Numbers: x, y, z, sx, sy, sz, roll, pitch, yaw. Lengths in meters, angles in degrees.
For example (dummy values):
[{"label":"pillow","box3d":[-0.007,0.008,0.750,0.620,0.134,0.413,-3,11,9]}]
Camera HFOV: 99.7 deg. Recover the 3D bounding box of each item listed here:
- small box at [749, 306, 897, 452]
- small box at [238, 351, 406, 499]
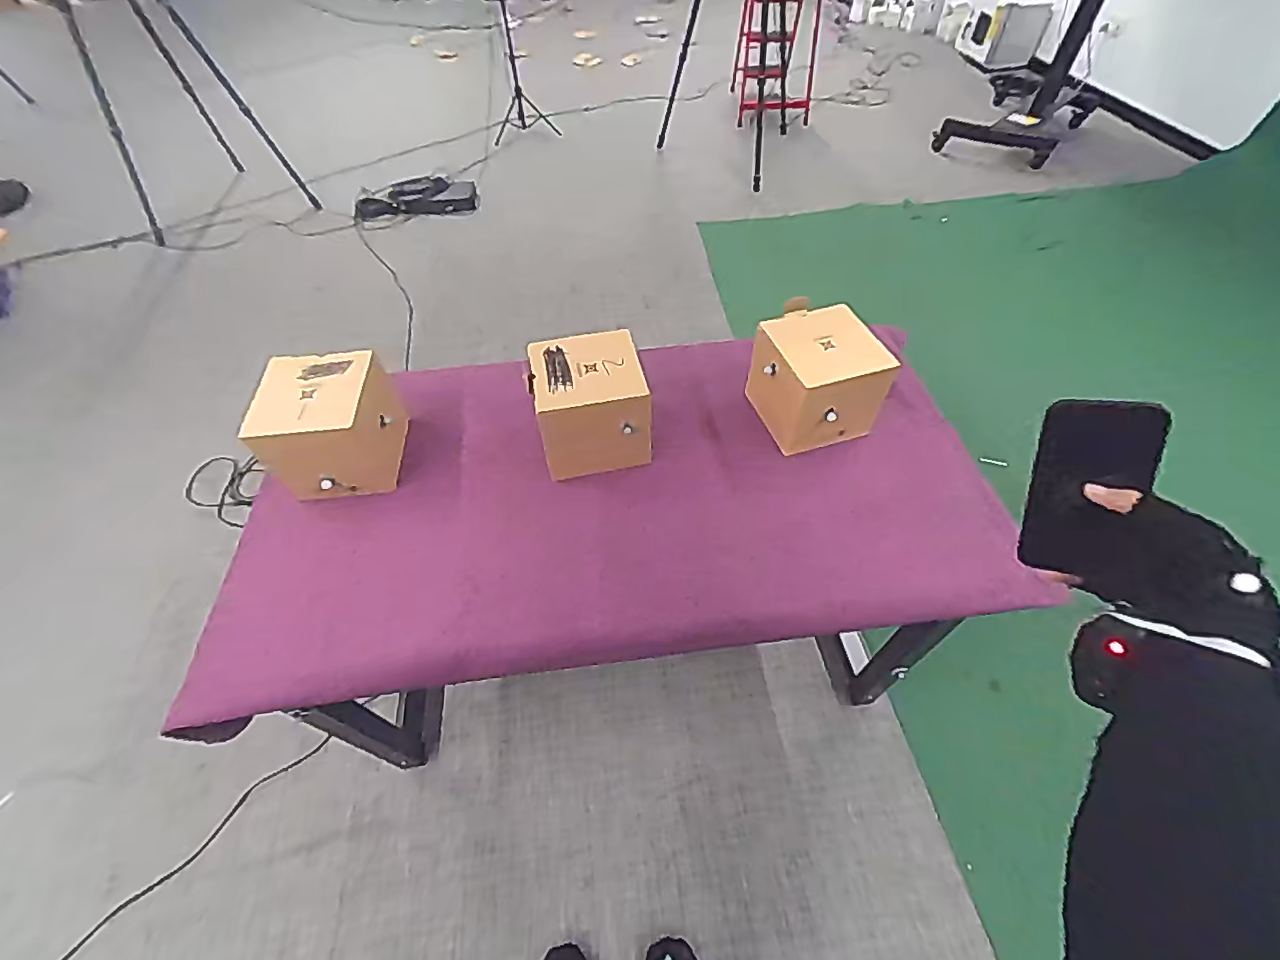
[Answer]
[{"label":"small box","box3d":[0.304,-0.168,0.940,0.168,0.176,0.179,-15,53,-9]},{"label":"small box","box3d":[-0.505,-0.089,0.894,0.168,0.176,0.179,-5,54,-3]}]
